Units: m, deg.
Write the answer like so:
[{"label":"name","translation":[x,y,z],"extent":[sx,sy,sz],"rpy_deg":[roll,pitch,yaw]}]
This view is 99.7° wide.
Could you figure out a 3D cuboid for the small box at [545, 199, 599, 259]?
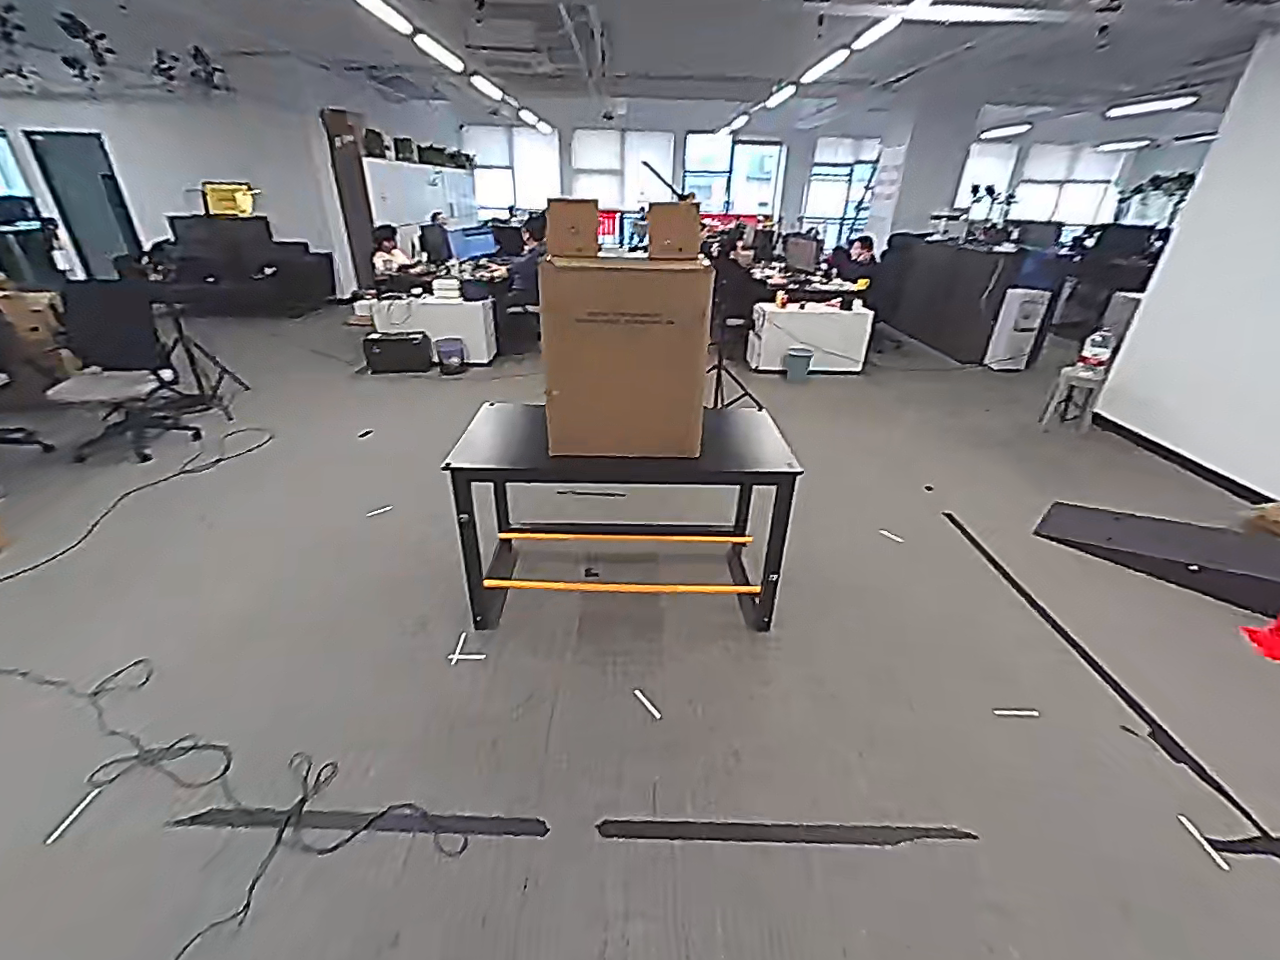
[{"label":"small box","translation":[-0.218,-0.820,1.767],"extent":[0.168,0.176,0.179],"rpy_deg":[-1,28,-5]}]

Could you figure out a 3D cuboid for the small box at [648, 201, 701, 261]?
[{"label":"small box","translation":[0.110,-0.813,1.765],"extent":[0.168,0.176,0.179],"rpy_deg":[-1,27,2]}]
